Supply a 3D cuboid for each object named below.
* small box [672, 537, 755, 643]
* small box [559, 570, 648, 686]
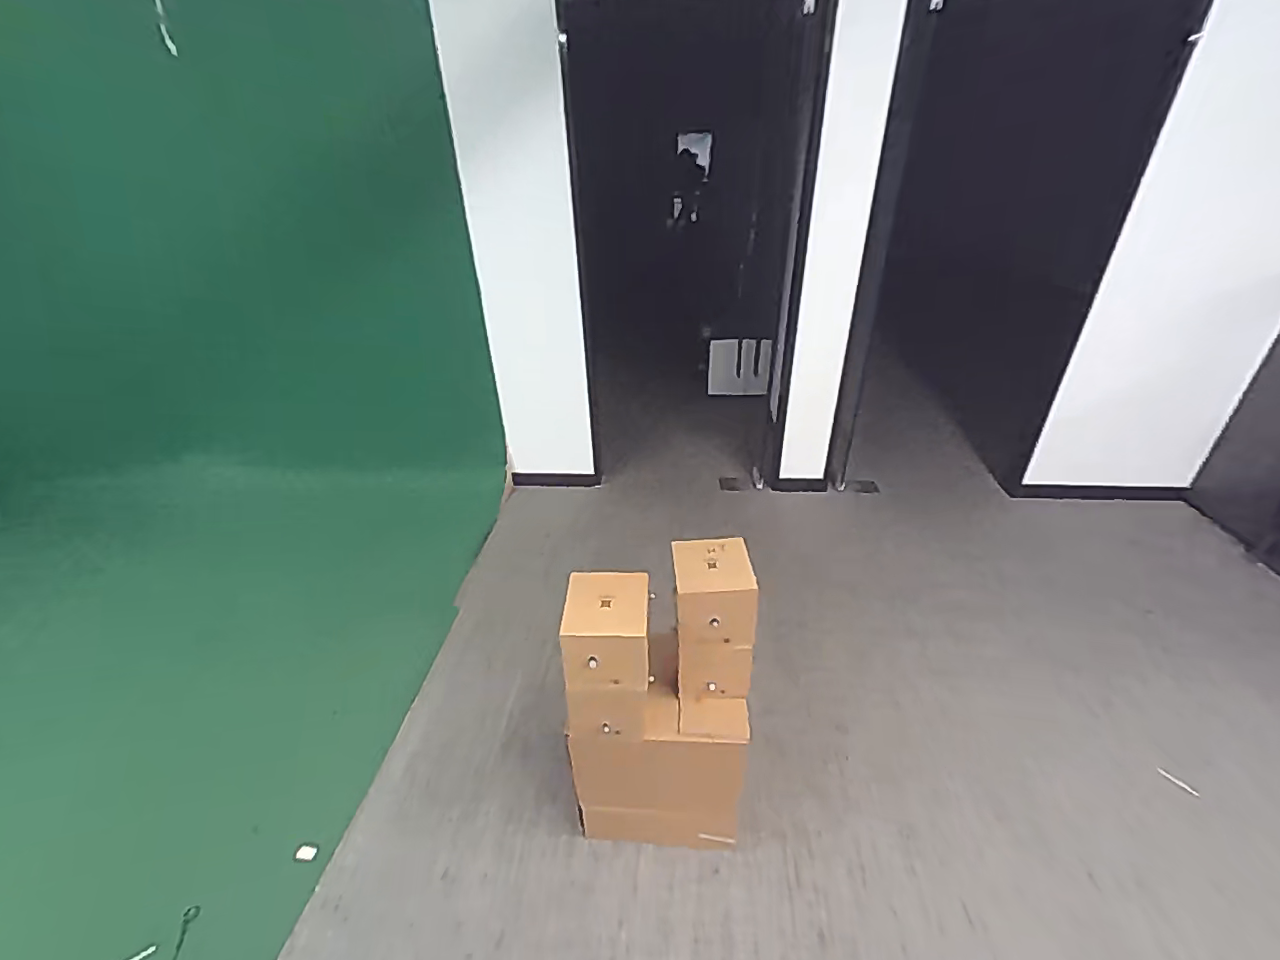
[{"bbox_3d":[0.160,0.249,1.211,0.168,0.176,0.179,-2,31,1],"label":"small box"},{"bbox_3d":[-0.067,0.309,1.129,0.168,0.176,0.179,0,34,2],"label":"small box"}]
